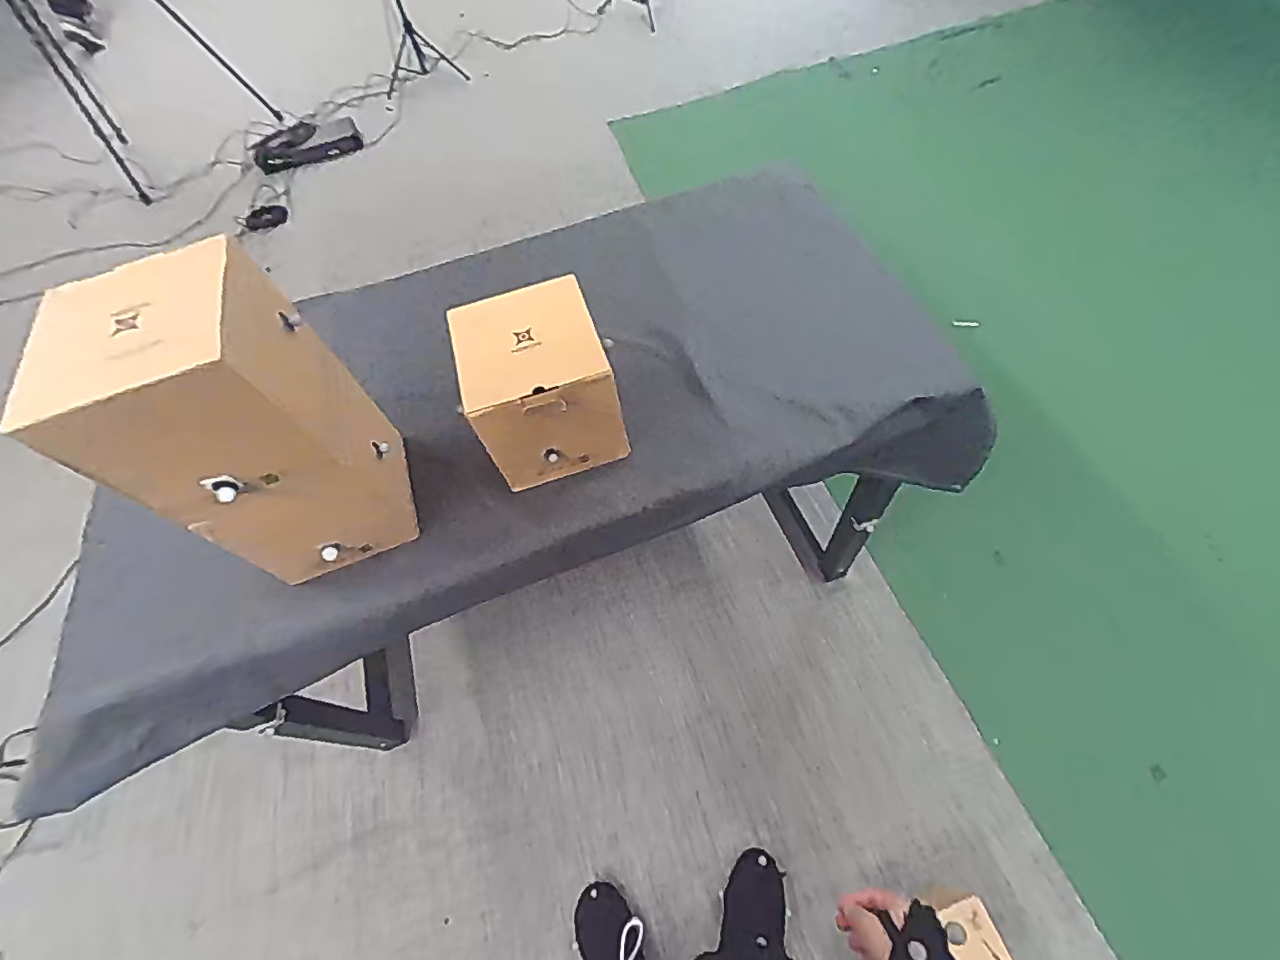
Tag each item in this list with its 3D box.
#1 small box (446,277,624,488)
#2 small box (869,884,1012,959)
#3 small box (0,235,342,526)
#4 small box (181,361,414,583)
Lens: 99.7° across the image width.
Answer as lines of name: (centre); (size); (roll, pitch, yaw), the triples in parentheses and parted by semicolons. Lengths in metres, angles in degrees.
small box: (-0.128, -0.119, 0.688); (0.168, 0.176, 0.179); (-19, 59, -5)
small box: (0.508, 0.813, 0.908); (0.179, 0.176, 0.168); (-20, 59, -4)
small box: (-0.411, -0.087, 0.509); (0.168, 0.176, 0.179); (-22, 60, -5)
small box: (-0.395, -0.004, 0.648); (0.168, 0.176, 0.179); (-21, 60, -6)
